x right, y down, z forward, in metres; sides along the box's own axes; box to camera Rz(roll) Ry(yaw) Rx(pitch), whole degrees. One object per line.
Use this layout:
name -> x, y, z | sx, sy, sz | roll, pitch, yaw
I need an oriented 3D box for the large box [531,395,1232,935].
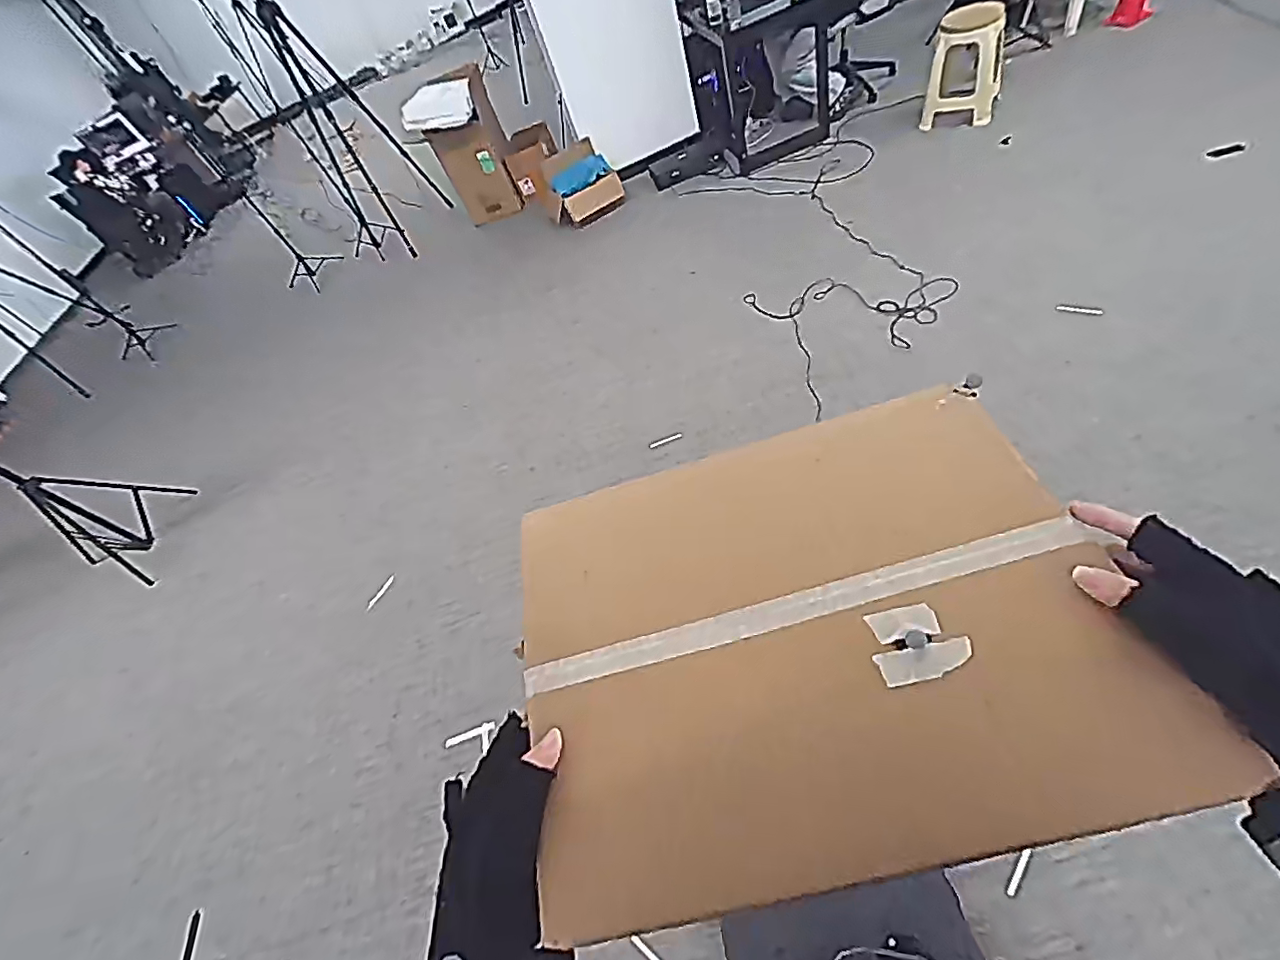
large box -> 0.148, 0.185, 0.519 | 0.408, 0.320, 0.320 | -17, 53, 5
